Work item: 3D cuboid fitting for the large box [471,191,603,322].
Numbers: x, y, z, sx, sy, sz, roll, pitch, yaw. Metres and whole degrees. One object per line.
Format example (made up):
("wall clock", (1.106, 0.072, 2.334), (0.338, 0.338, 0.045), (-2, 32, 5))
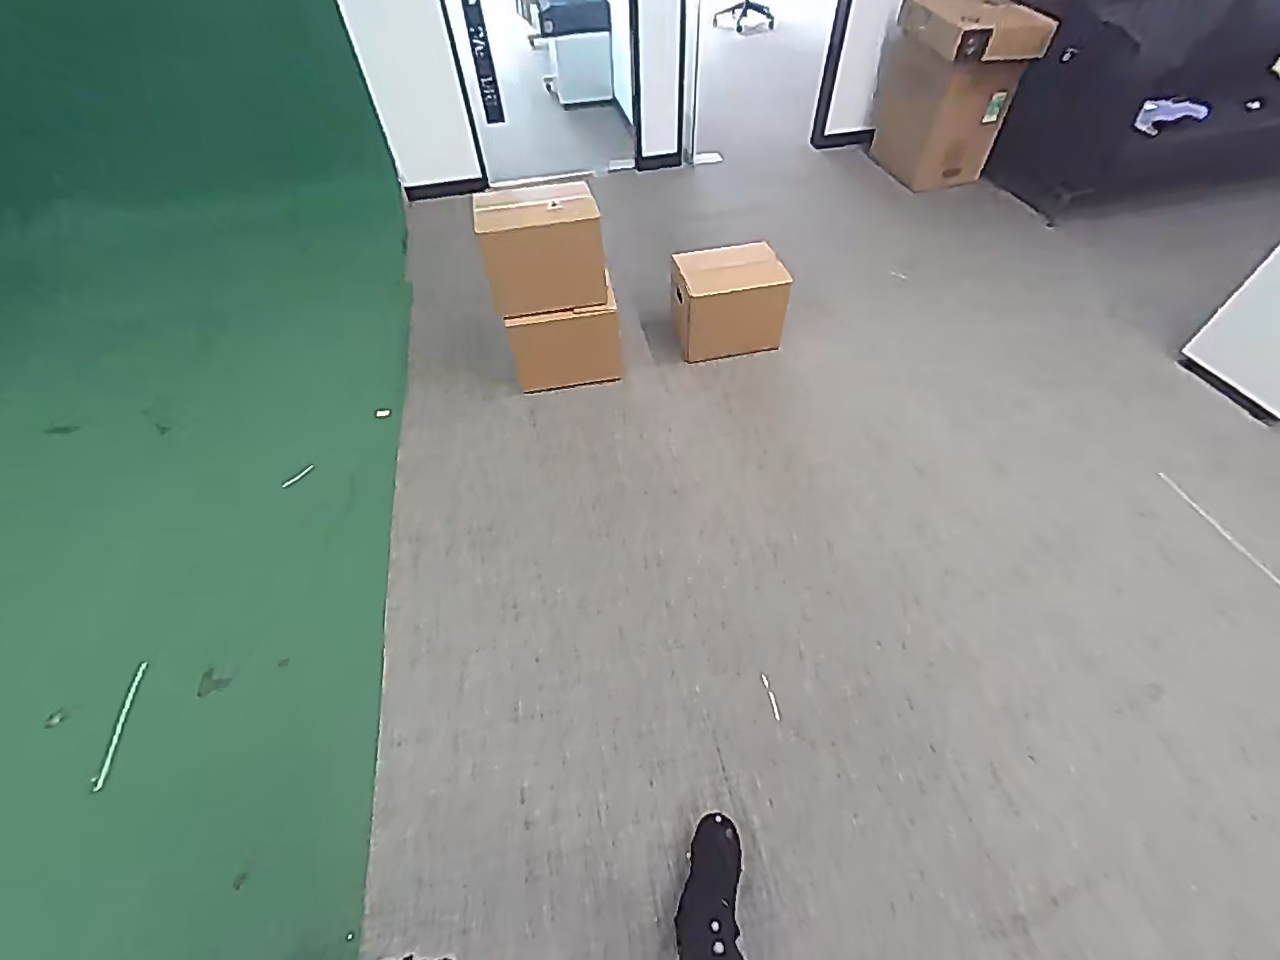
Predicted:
("large box", (-0.361, -0.793, 1.918), (0.408, 0.320, 0.320), (-10, 48, -7))
